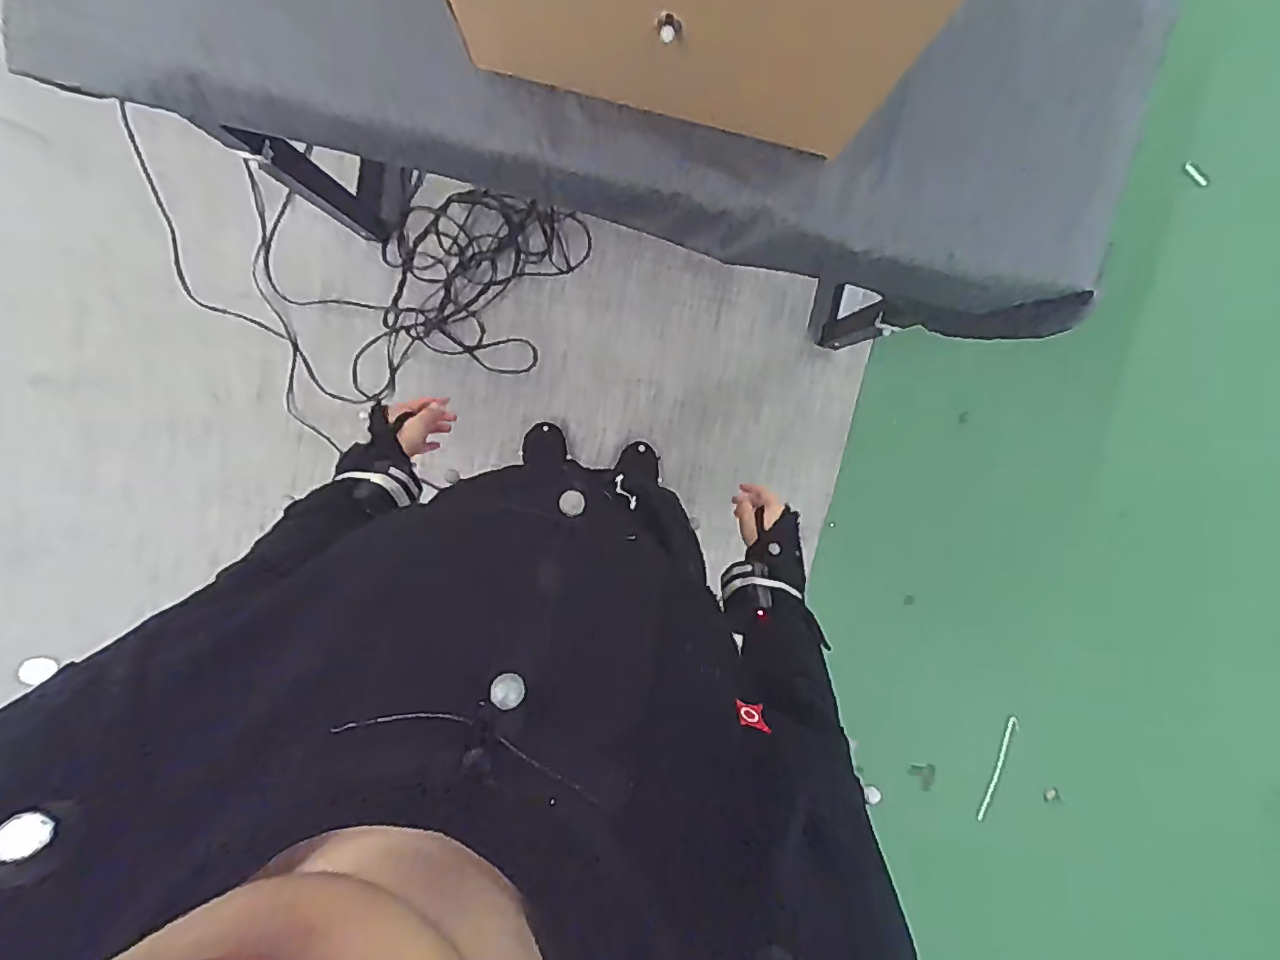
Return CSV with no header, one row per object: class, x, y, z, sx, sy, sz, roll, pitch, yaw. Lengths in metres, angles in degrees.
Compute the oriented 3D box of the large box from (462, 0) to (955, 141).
large box,0.061,-0.537,0.434,0.408,0.320,0.320,11,96,-2
